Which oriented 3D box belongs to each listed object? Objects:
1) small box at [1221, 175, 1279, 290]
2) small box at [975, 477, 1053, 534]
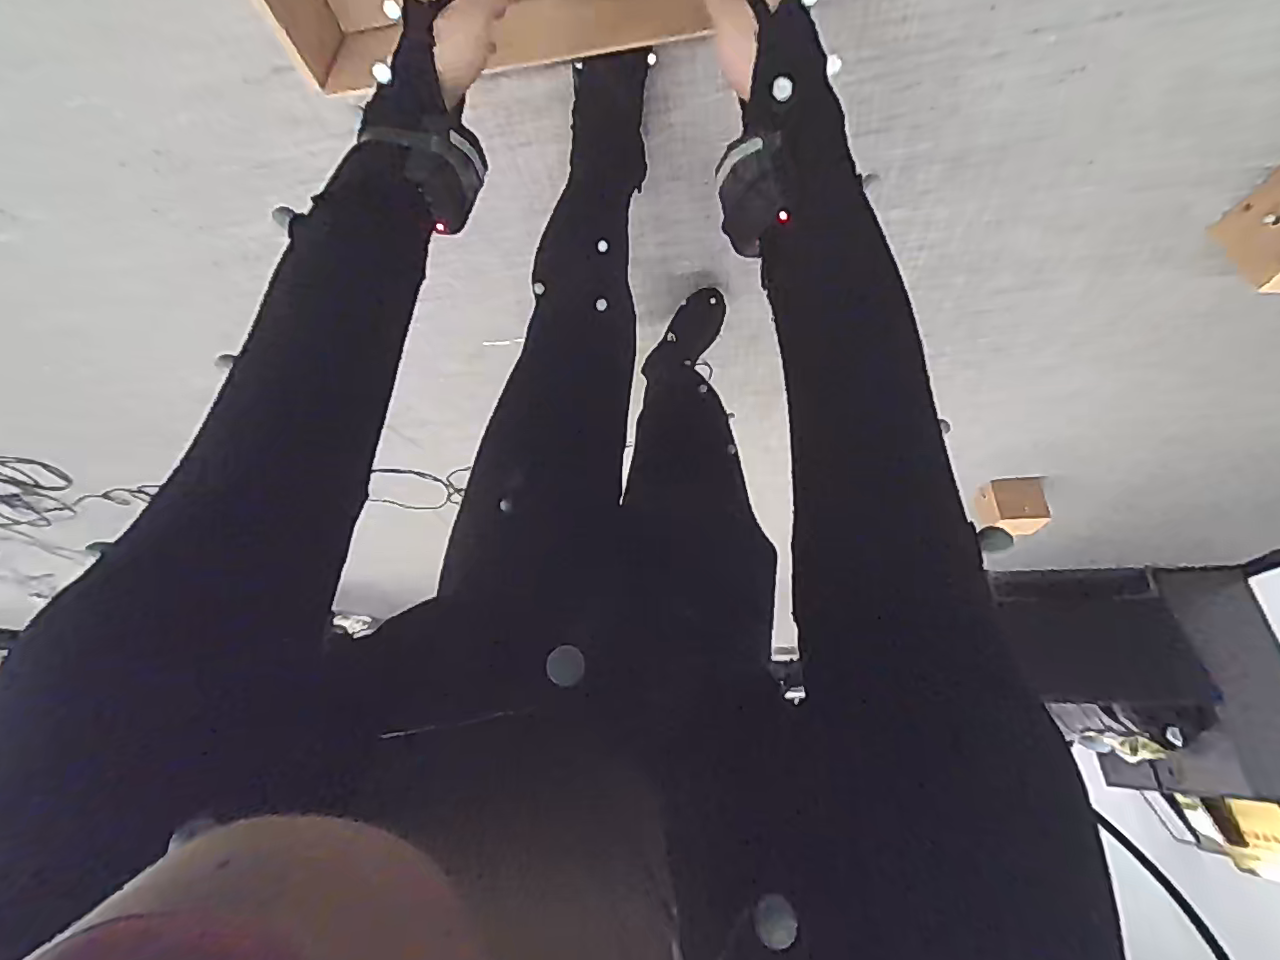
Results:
[{"bbox_3d":[1.204,-0.454,0.947,0.179,0.176,0.168,1,154,-1],"label":"small box"},{"bbox_3d":[1.433,0.097,2.083,0.179,0.176,0.168,-4,152,10],"label":"small box"}]
